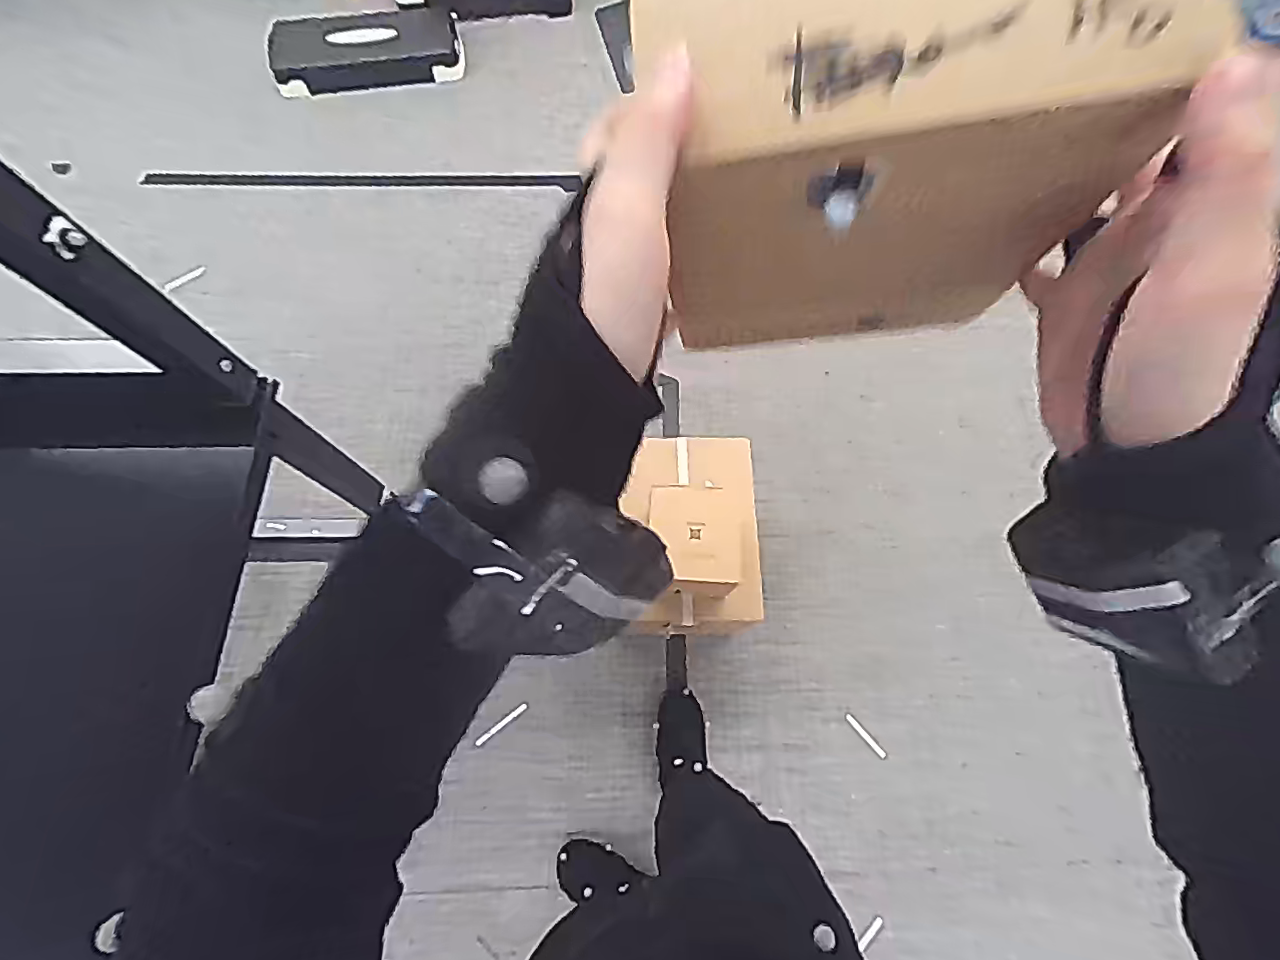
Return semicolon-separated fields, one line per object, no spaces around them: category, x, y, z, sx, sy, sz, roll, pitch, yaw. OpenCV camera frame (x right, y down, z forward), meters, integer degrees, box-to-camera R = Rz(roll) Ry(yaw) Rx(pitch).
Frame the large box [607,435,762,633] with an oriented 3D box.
large box;0.084;0.140;1.279;0.320;0.320;0.408;1;69;-3

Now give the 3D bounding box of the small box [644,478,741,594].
small box;0.095;0.112;1.028;0.168;0.176;0.179;3;70;1
